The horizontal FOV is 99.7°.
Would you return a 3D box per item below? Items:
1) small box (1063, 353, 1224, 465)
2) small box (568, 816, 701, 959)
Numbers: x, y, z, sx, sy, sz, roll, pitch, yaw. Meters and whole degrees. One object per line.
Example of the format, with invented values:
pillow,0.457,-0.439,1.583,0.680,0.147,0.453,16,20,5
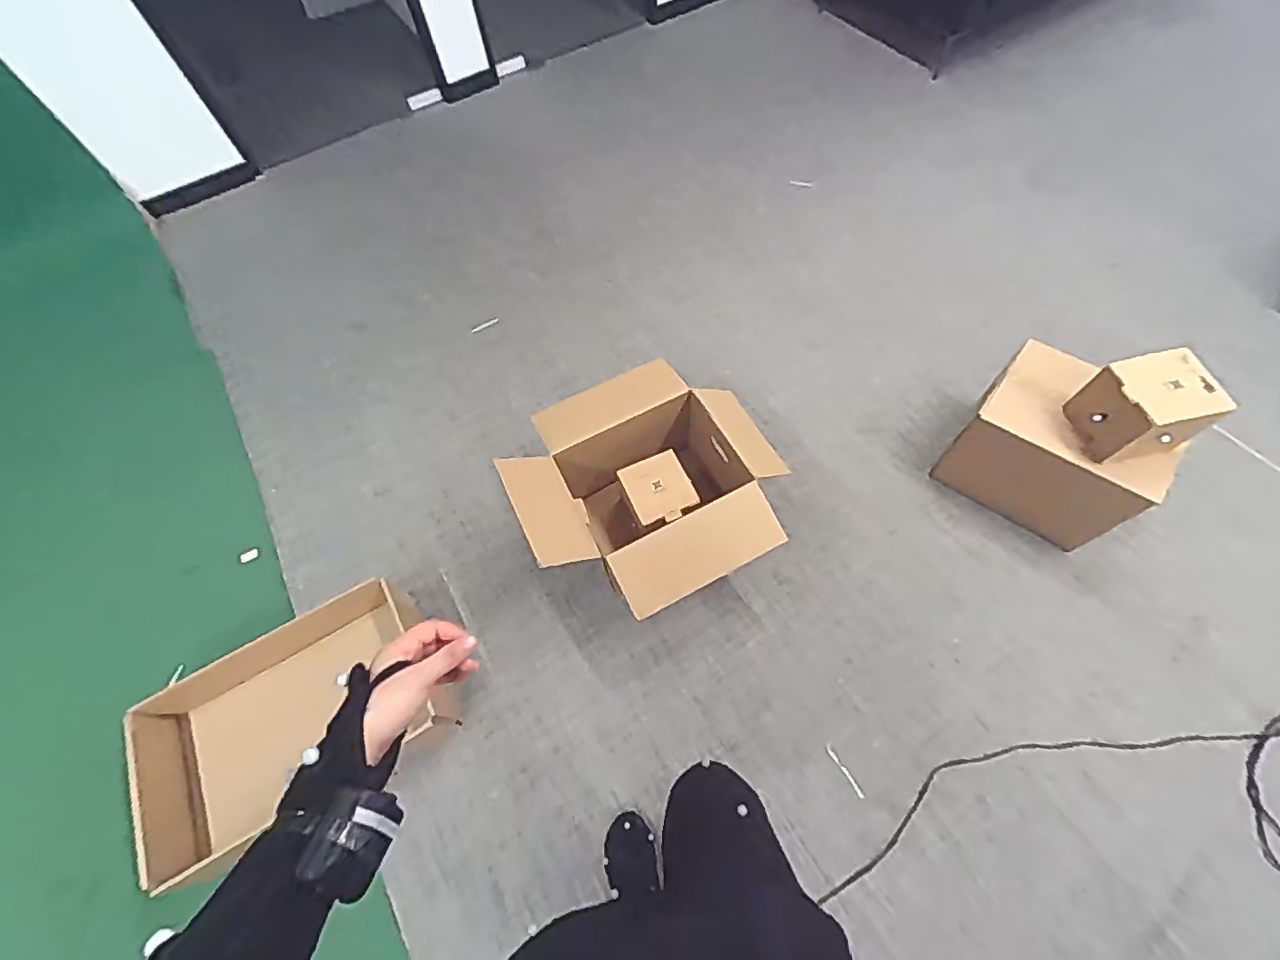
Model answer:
small box,1.099,-0.151,1.206,0.179,0.176,0.168,-12,62,-1
small box,-0.004,0.819,1.079,0.176,0.168,0.179,52,49,-3
